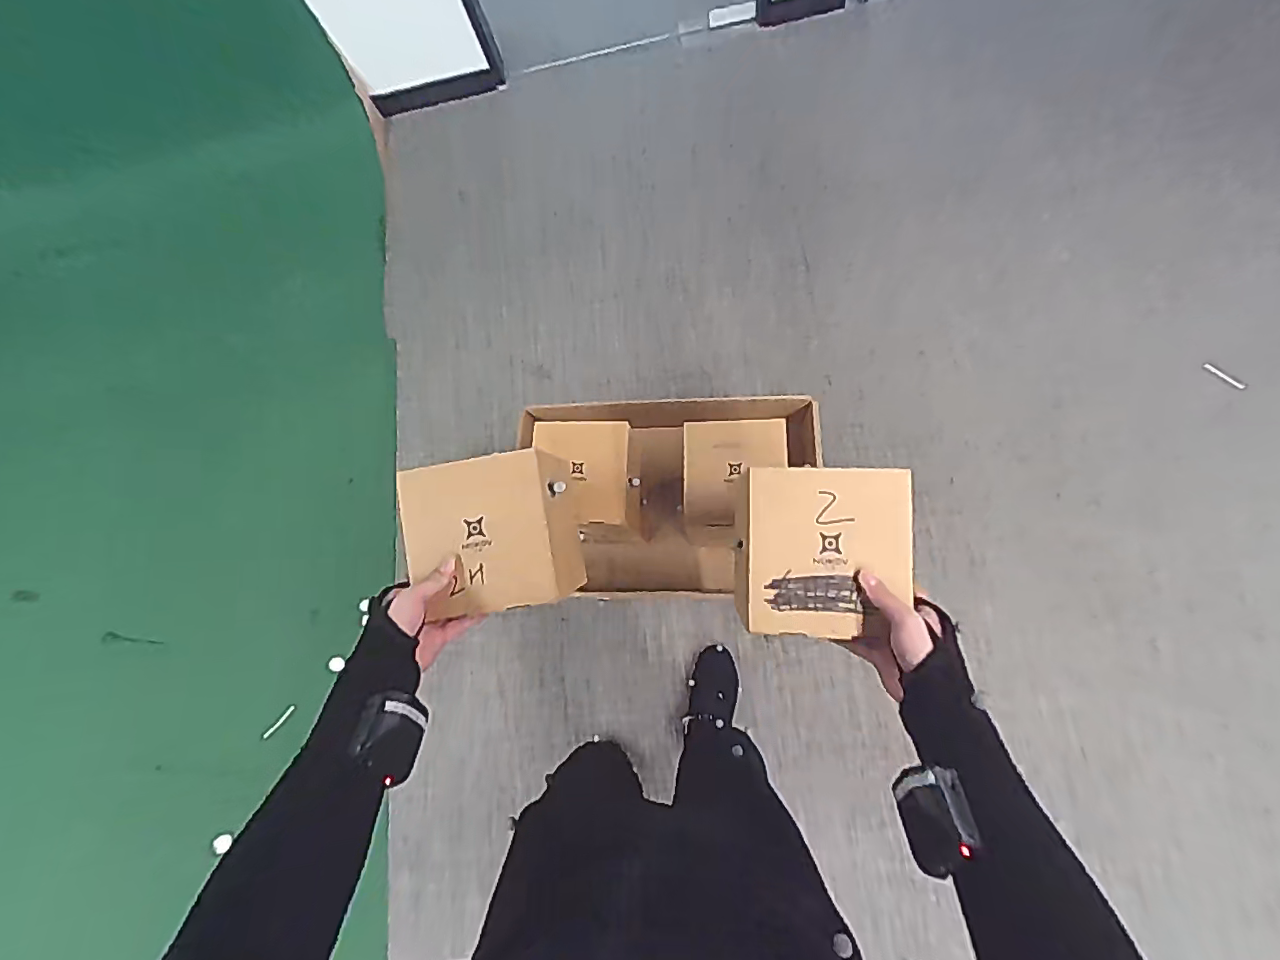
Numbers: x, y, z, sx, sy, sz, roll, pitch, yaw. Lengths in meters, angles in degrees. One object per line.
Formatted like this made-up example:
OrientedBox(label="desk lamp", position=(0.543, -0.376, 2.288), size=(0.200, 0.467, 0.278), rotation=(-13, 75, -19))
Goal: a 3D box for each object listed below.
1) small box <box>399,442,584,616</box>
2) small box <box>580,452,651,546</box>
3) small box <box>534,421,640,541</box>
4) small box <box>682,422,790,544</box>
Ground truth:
OrientedBox(label="small box", position=(-0.173, 0.060, 0.673), size=(0.168, 0.176, 0.179), rotation=(-8, 86, 5))
OrientedBox(label="small box", position=(-0.077, 0.044, 1.118), size=(0.179, 0.176, 0.168), rotation=(1, 76, 8))
OrientedBox(label="small box", position=(-0.092, 0.007, 0.959), size=(0.168, 0.176, 0.179), rotation=(1, 76, 8))
OrientedBox(label="small box", position=(0.161, 0.012, 0.919), size=(0.168, 0.176, 0.179), rotation=(0, 75, 8))
